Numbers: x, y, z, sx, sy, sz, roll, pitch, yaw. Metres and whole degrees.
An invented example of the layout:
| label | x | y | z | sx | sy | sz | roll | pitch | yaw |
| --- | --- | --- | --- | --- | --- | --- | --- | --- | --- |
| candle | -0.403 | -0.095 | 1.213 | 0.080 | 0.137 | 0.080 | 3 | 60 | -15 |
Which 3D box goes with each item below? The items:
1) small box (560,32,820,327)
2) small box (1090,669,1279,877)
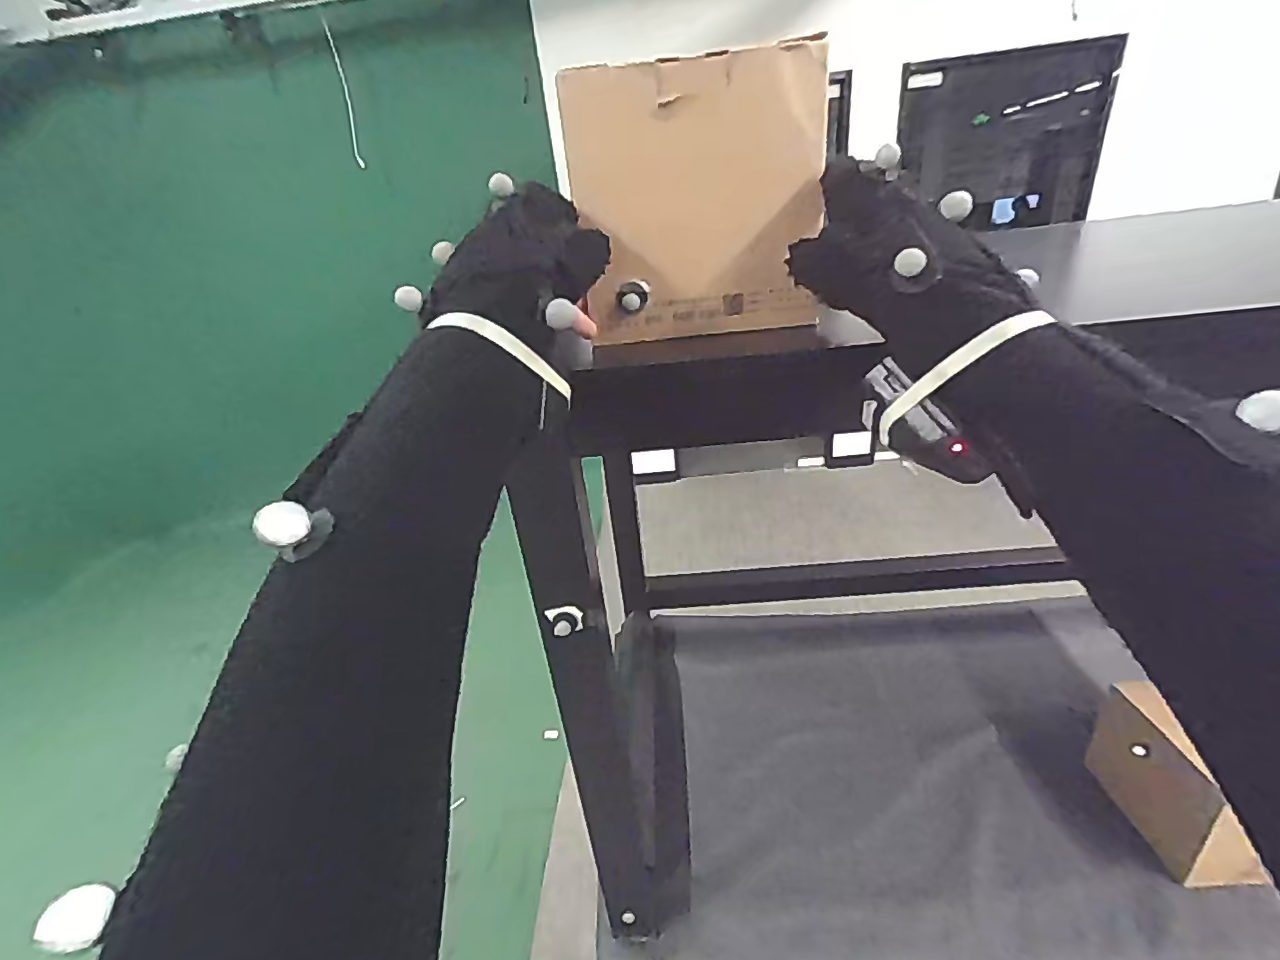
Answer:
| label | x | y | z | sx | sy | sz | roll | pitch | yaw |
| --- | --- | --- | --- | --- | --- | --- | --- | --- | --- |
| small box | 0.039 | -0.223 | 0.439 | 0.168 | 0.176 | 0.179 | -5 | 24 | 2 |
| small box | 0.746 | 0.378 | 0.710 | 0.168 | 0.176 | 0.179 | -6 | 24 | 4 |
